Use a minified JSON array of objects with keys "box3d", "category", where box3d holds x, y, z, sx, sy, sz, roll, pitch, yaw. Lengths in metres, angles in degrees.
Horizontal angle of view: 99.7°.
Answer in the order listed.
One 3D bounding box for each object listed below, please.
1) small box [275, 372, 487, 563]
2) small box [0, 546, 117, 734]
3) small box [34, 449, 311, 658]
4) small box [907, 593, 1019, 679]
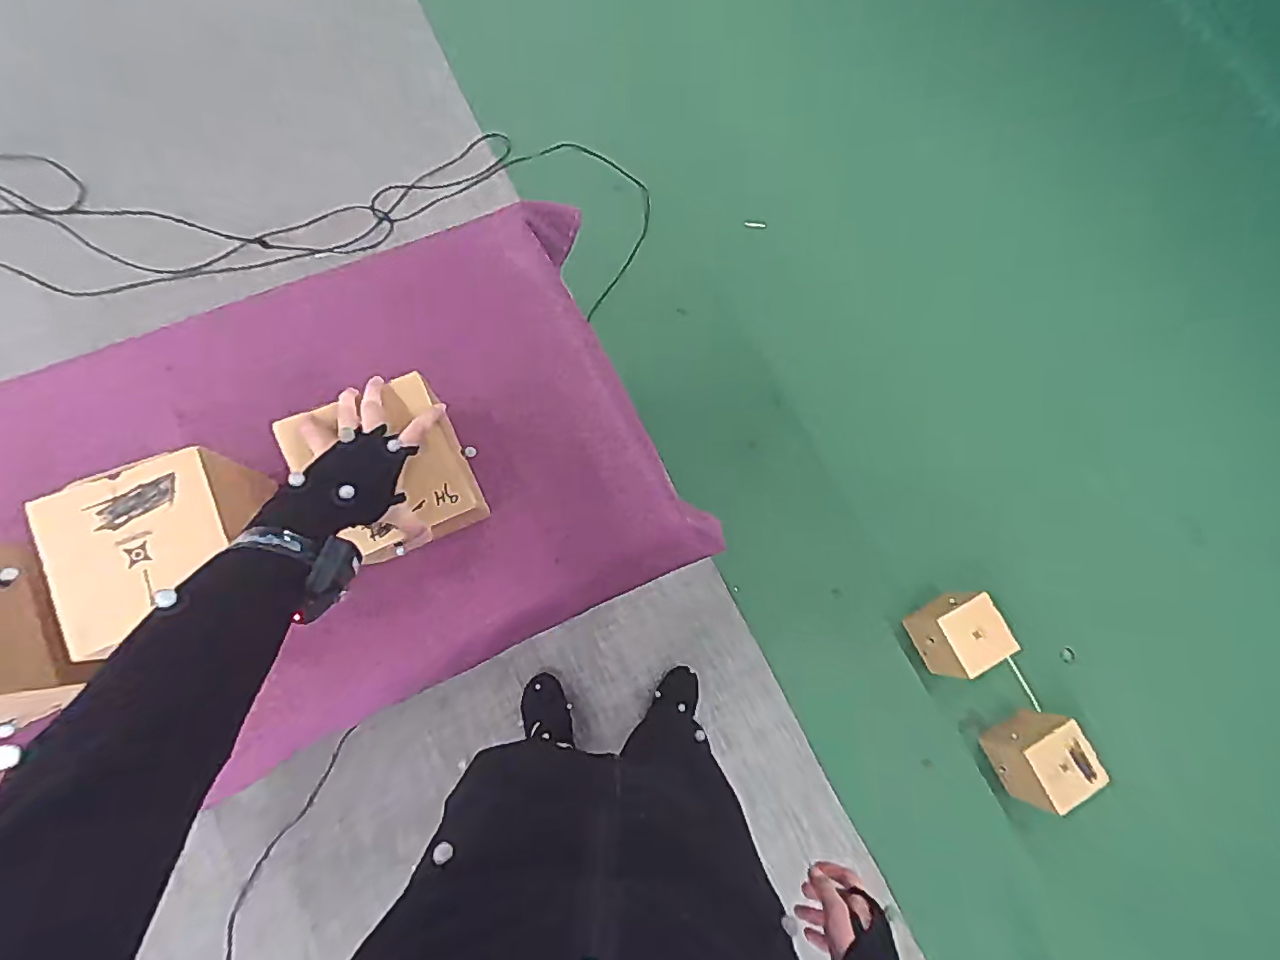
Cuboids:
[{"box3d":[-0.307,-0.006,0.679,0.168,0.176,0.179,-24,88,-12],"category":"small box"},{"box3d":[-0.739,0.183,0.587,0.168,0.176,0.179,-25,80,-12],"category":"small box"},{"box3d":[-0.529,0.090,0.638,0.168,0.176,0.179,-23,81,-12],"category":"small box"},{"box3d":[0.870,0.426,1.484,0.179,0.176,0.168,-24,79,-13],"category":"small box"}]
